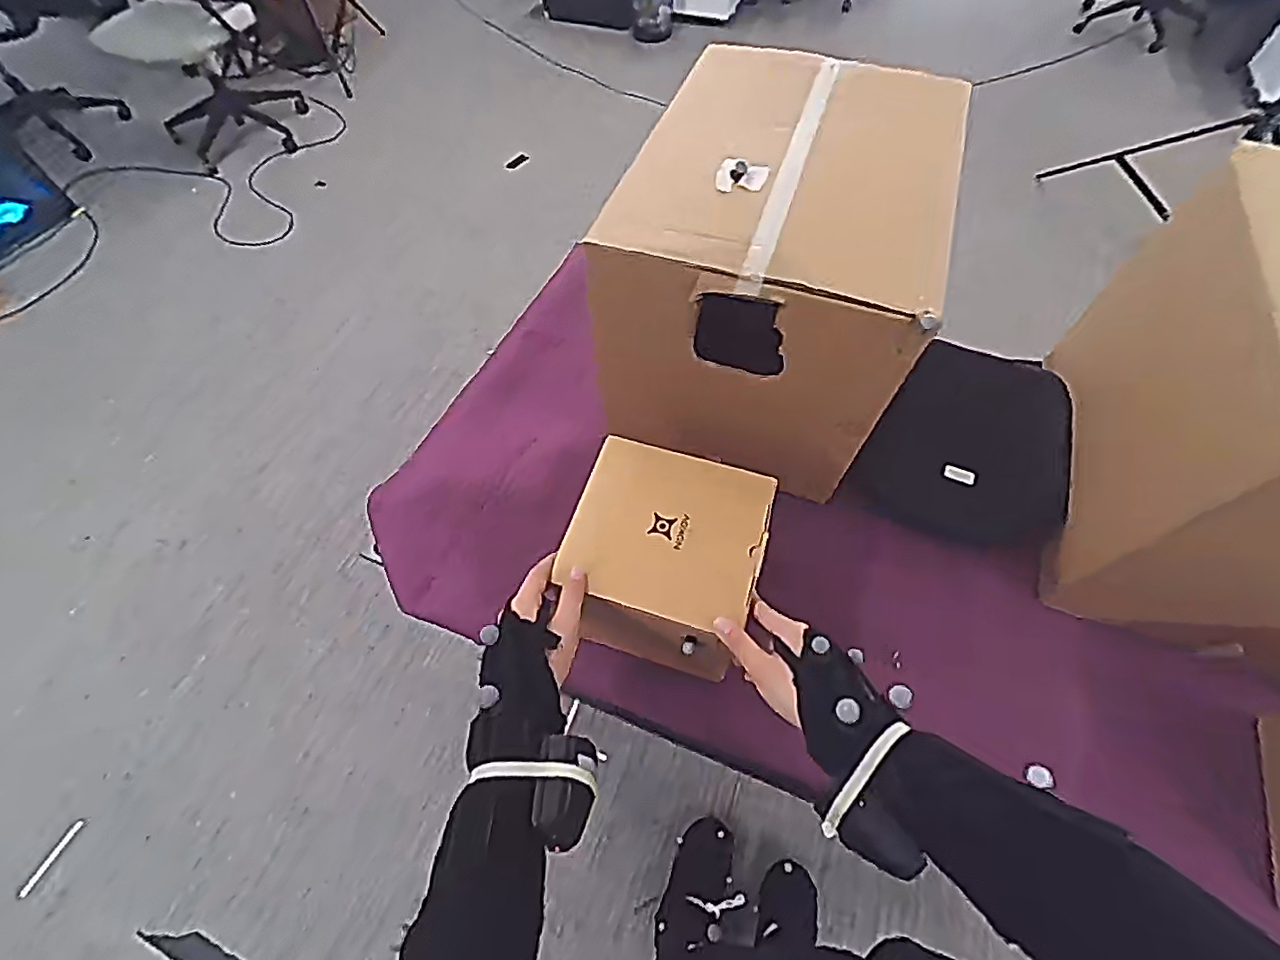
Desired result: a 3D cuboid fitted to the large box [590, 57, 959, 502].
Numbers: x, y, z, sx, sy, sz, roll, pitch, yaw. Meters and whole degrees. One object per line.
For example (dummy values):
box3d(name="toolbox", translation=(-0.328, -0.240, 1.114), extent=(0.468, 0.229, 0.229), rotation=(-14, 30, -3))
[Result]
box3d(name="large box", translation=(0.160, -0.245, 0.685), extent=(0.320, 0.320, 0.408), rotation=(16, 63, 11))
